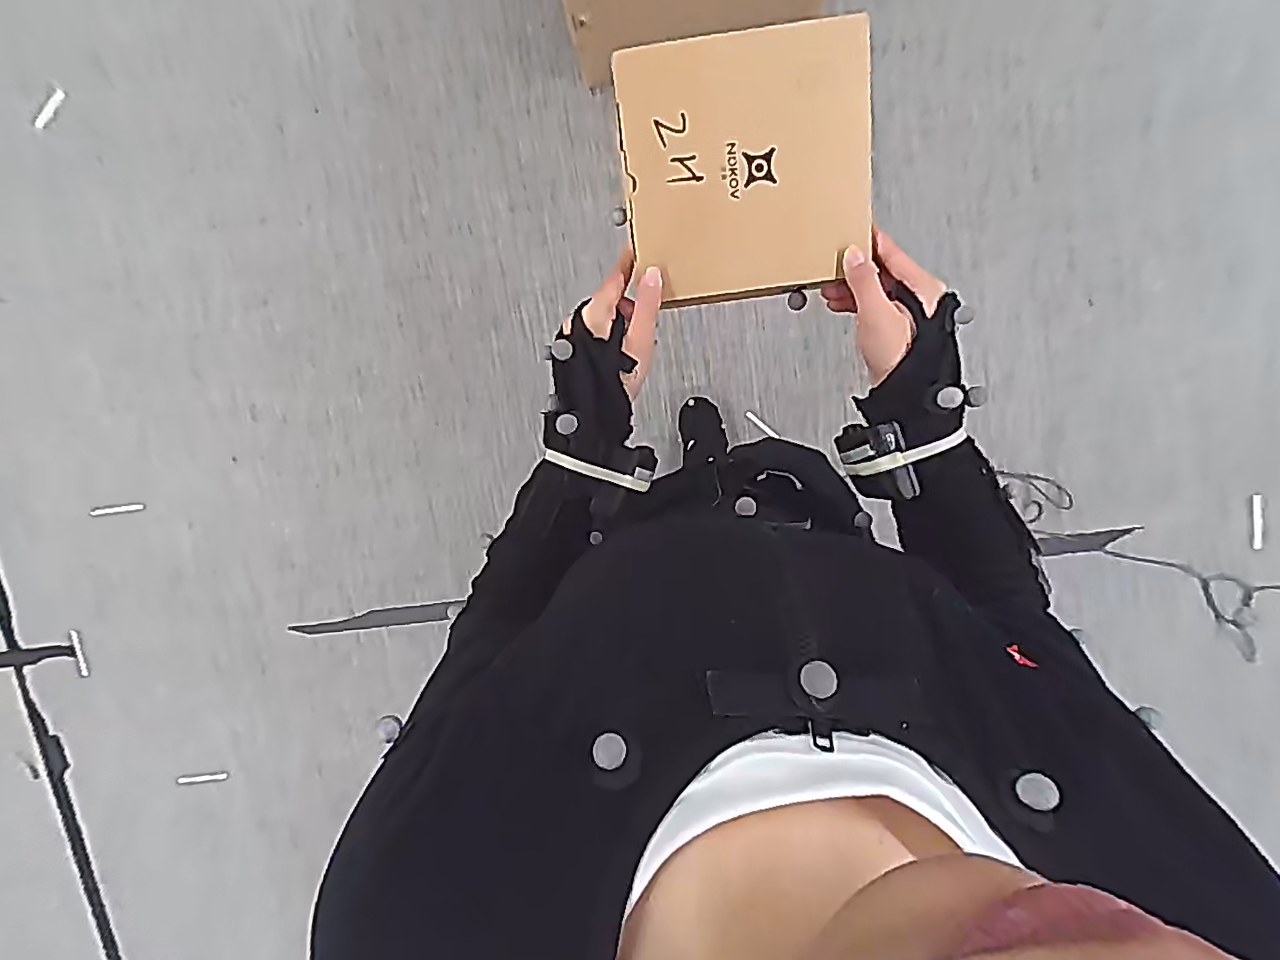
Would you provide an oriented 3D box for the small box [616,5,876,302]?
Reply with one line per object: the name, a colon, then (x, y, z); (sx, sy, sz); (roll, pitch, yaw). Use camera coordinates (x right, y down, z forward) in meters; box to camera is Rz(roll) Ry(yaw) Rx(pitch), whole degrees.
small box: (0.077, -0.246, 0.454); (0.179, 0.176, 0.168); (-6, 105, 3)
